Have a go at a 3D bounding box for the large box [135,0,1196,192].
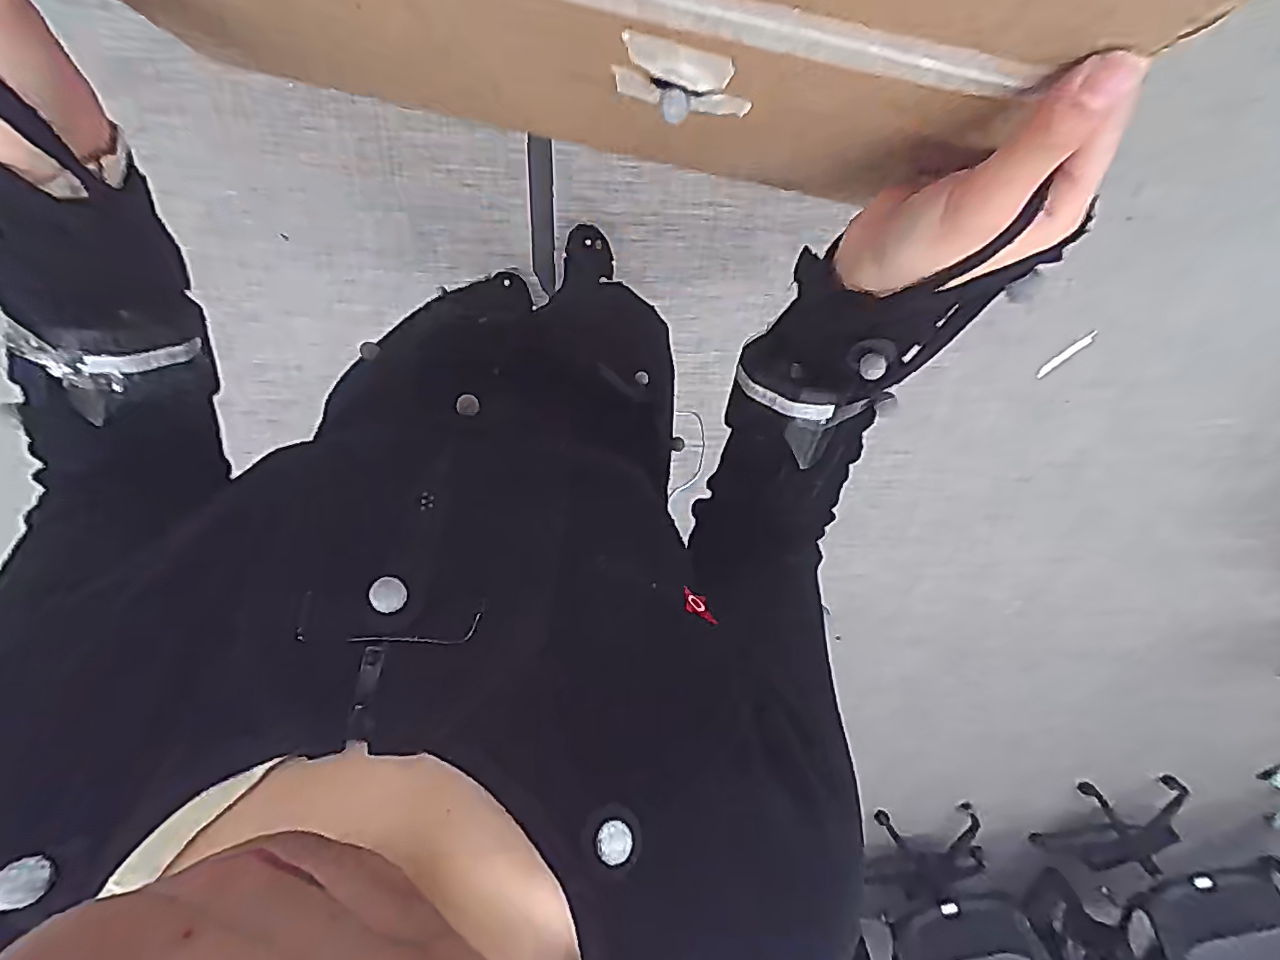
[{"bbox_3d":[-0.021,-0.318,0.136,0.408,0.320,0.320,11,104,-1],"label":"large box"}]
